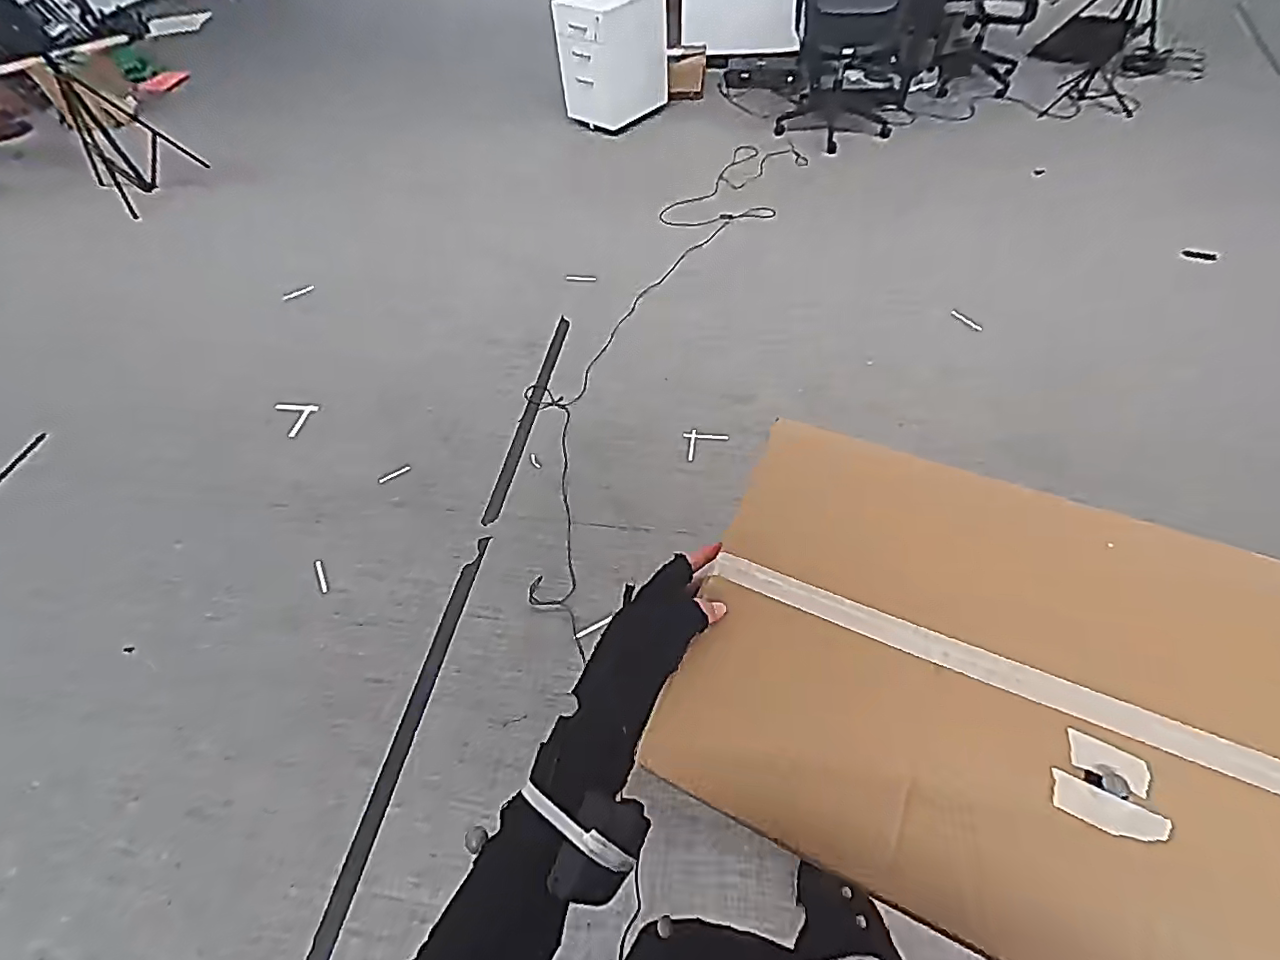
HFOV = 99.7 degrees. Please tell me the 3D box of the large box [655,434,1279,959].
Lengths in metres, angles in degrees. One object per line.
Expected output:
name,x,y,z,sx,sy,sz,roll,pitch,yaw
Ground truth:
large box,0.265,0.212,0.513,0.408,0.320,0.320,20,65,19
